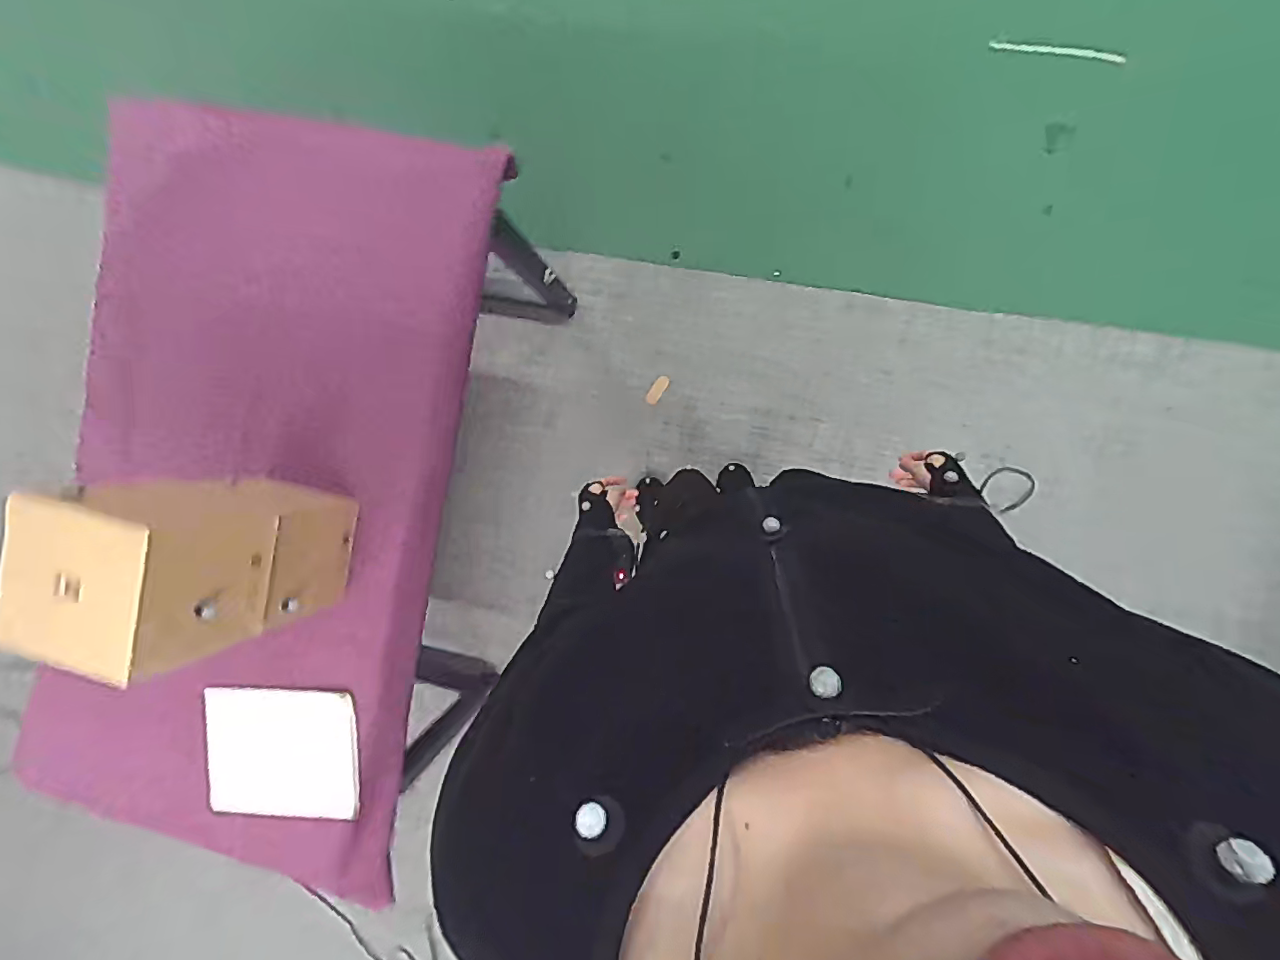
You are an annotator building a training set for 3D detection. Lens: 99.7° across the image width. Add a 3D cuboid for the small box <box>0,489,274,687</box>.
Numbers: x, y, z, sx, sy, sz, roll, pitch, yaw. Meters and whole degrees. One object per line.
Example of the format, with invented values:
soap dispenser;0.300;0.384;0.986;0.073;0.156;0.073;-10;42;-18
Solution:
small box;-0.569;0.108;0.626;0.179;0.176;0.168;12;94;8
